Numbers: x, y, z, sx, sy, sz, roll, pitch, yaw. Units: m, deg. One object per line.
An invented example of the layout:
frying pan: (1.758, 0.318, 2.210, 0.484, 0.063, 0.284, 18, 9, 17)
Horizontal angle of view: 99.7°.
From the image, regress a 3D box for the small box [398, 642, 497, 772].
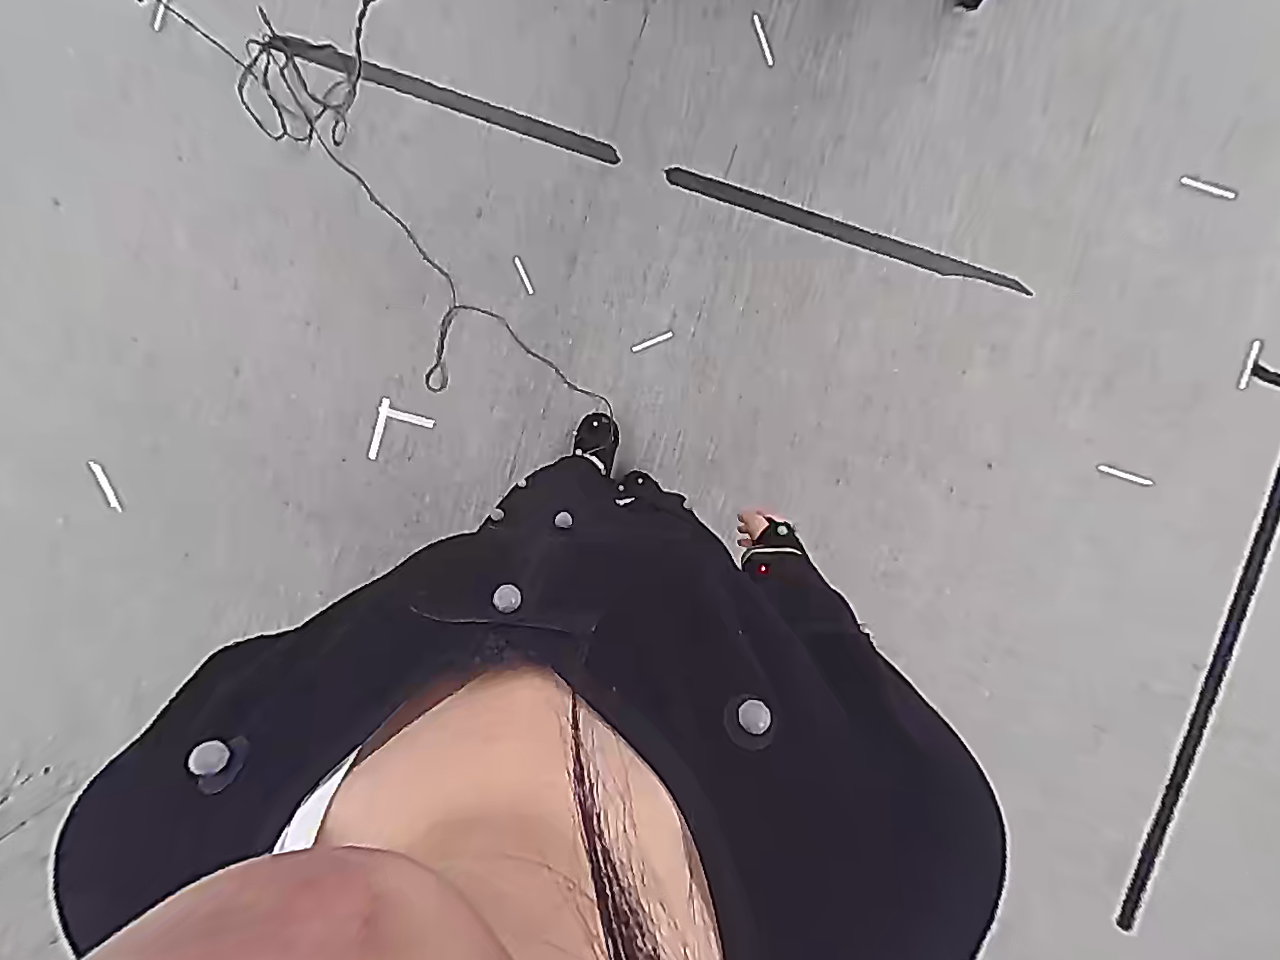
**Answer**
small box: (-0.415, 0.467, 1.136, 0.168, 0.176, 0.179, 15, 91, 0)
